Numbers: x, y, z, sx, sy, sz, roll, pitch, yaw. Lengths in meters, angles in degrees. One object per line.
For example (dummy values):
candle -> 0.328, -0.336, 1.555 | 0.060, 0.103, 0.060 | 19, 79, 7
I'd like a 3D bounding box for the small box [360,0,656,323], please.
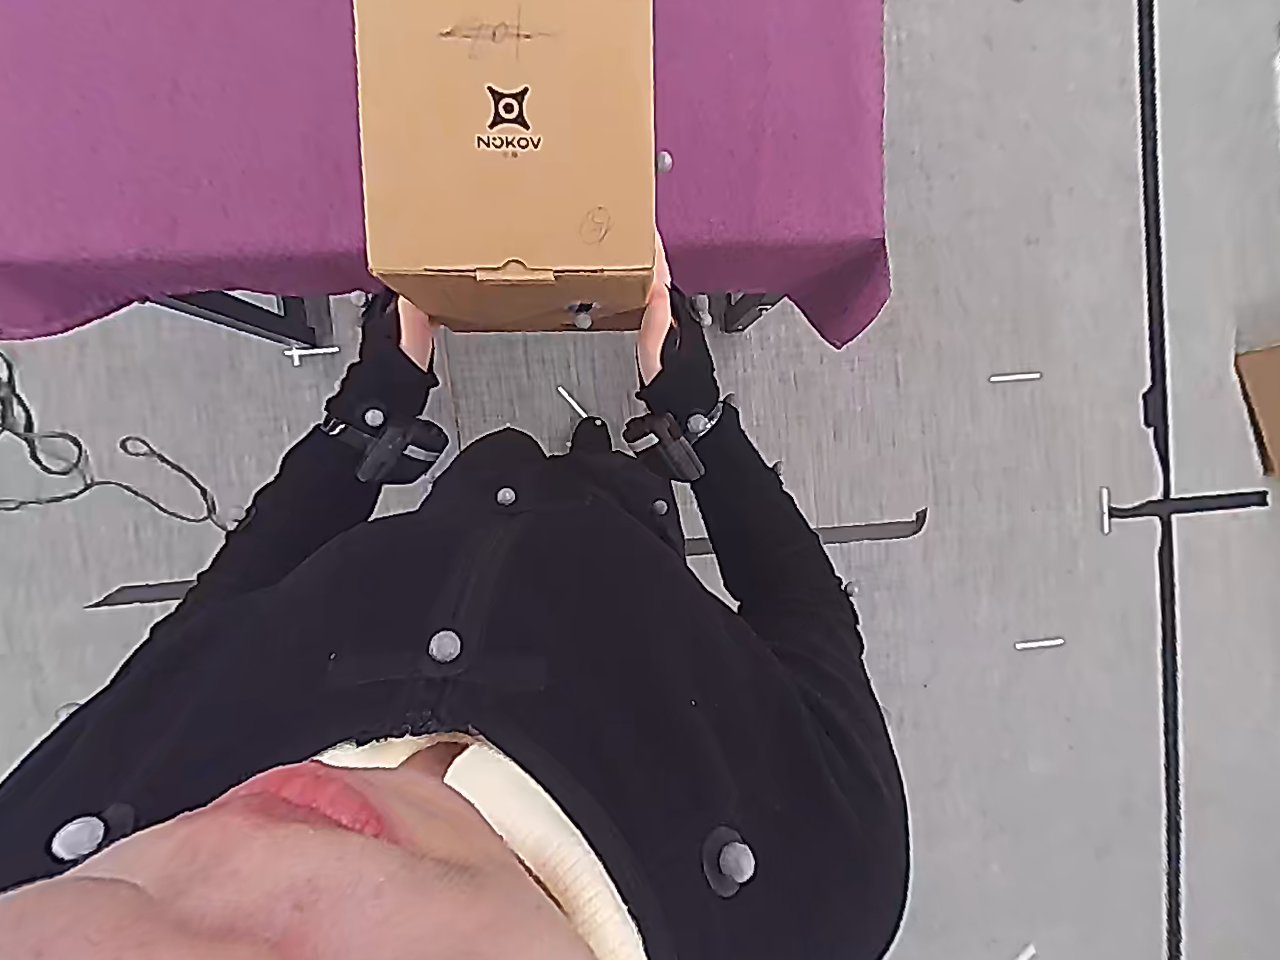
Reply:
small box -> -0.076, -0.214, 0.385 | 0.168, 0.176, 0.179 | -1, 94, -4
